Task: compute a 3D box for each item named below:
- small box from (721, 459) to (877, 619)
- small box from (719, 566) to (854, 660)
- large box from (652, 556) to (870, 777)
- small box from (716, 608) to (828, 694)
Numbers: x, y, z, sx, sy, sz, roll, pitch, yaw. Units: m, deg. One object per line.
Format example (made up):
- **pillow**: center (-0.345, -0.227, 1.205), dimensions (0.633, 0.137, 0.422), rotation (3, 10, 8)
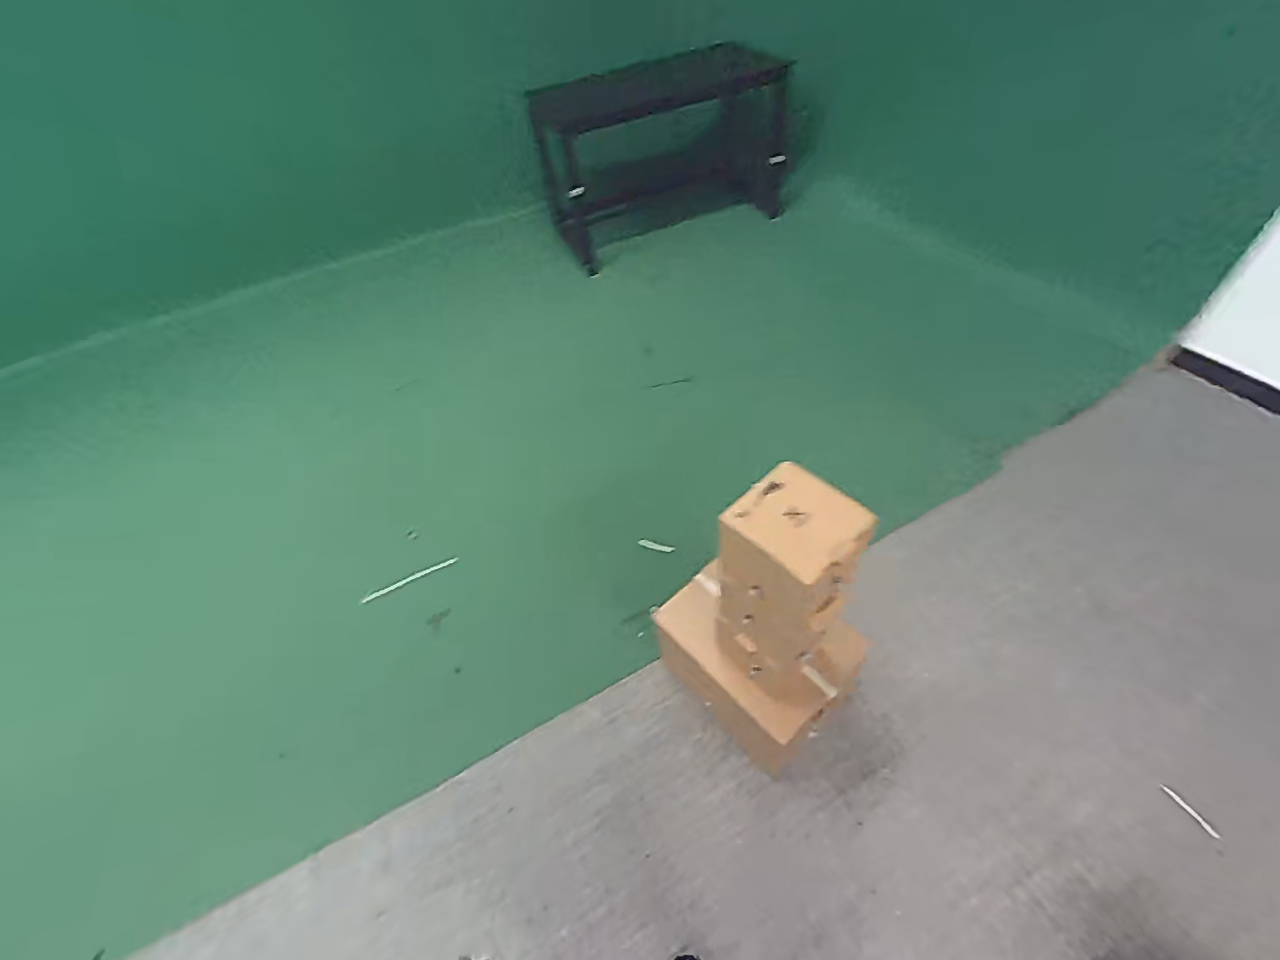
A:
- **small box**: center (0.251, 0.105, 0.896), dimensions (0.168, 0.176, 0.179), rotation (-36, 56, -21)
- **small box**: center (0.268, 0.213, 1.019), dimensions (0.168, 0.176, 0.179), rotation (-37, 55, -21)
- **large box**: center (0.288, 0.444, 1.357), dimensions (0.320, 0.320, 0.408), rotation (-35, 53, -22)
- **small box**: center (0.280, 0.317, 1.145), dimensions (0.179, 0.176, 0.168), rotation (-35, 55, -21)
